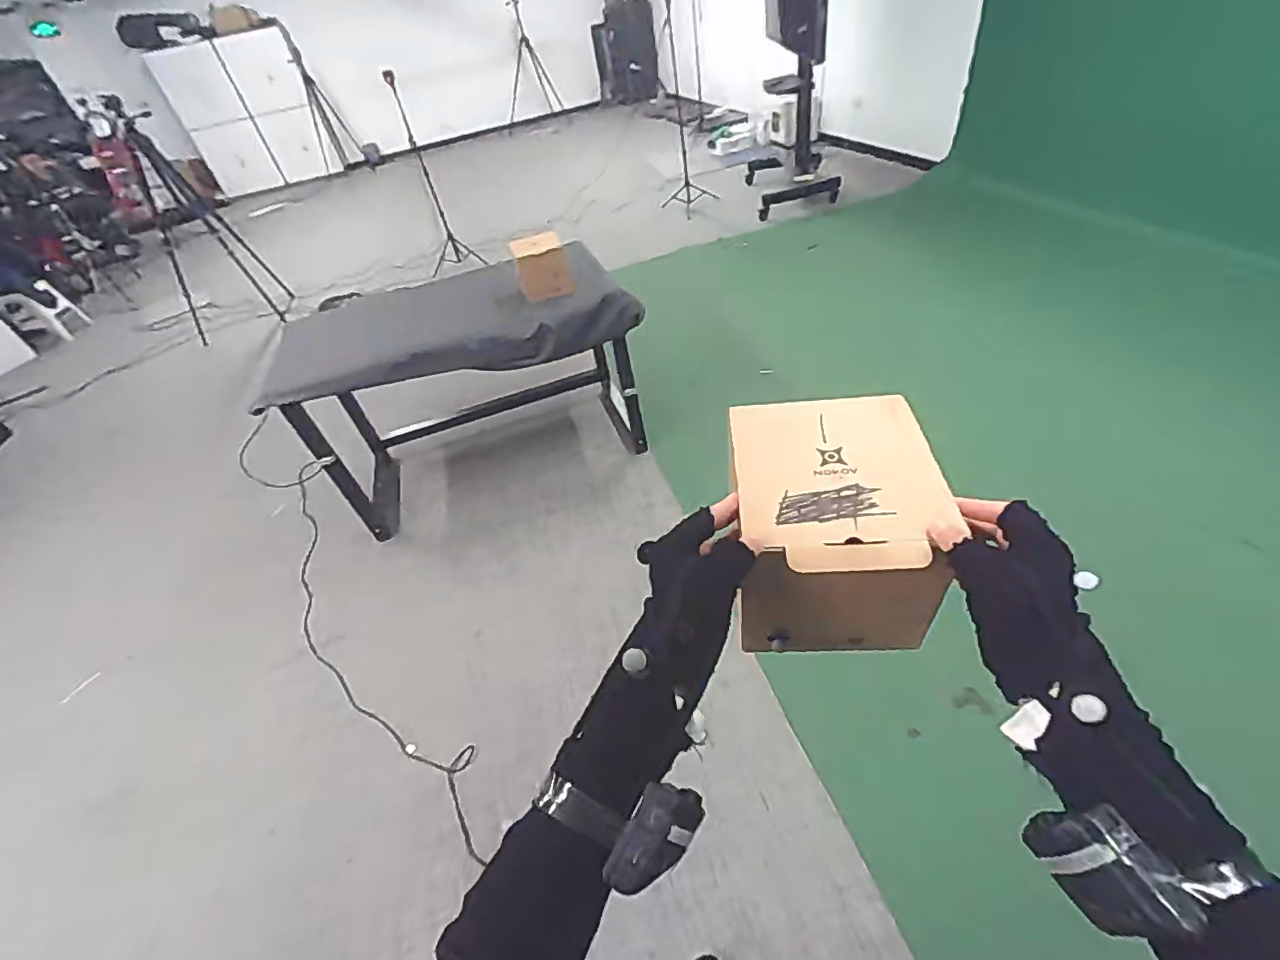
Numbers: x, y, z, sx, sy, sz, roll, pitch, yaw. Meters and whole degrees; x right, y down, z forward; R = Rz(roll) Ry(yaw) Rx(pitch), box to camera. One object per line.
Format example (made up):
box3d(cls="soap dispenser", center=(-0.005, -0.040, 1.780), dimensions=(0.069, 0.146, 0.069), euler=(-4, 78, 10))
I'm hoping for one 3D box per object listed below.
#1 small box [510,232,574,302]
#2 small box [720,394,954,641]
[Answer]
box3d(cls="small box", center=(-0.342, -0.743, 1.897), dimensions=(0.168, 0.176, 0.179), euler=(-20, 41, -9))
box3d(cls="small box", center=(0.166, 0.042, 0.518), dimensions=(0.168, 0.176, 0.179), euler=(-4, 45, 7))
